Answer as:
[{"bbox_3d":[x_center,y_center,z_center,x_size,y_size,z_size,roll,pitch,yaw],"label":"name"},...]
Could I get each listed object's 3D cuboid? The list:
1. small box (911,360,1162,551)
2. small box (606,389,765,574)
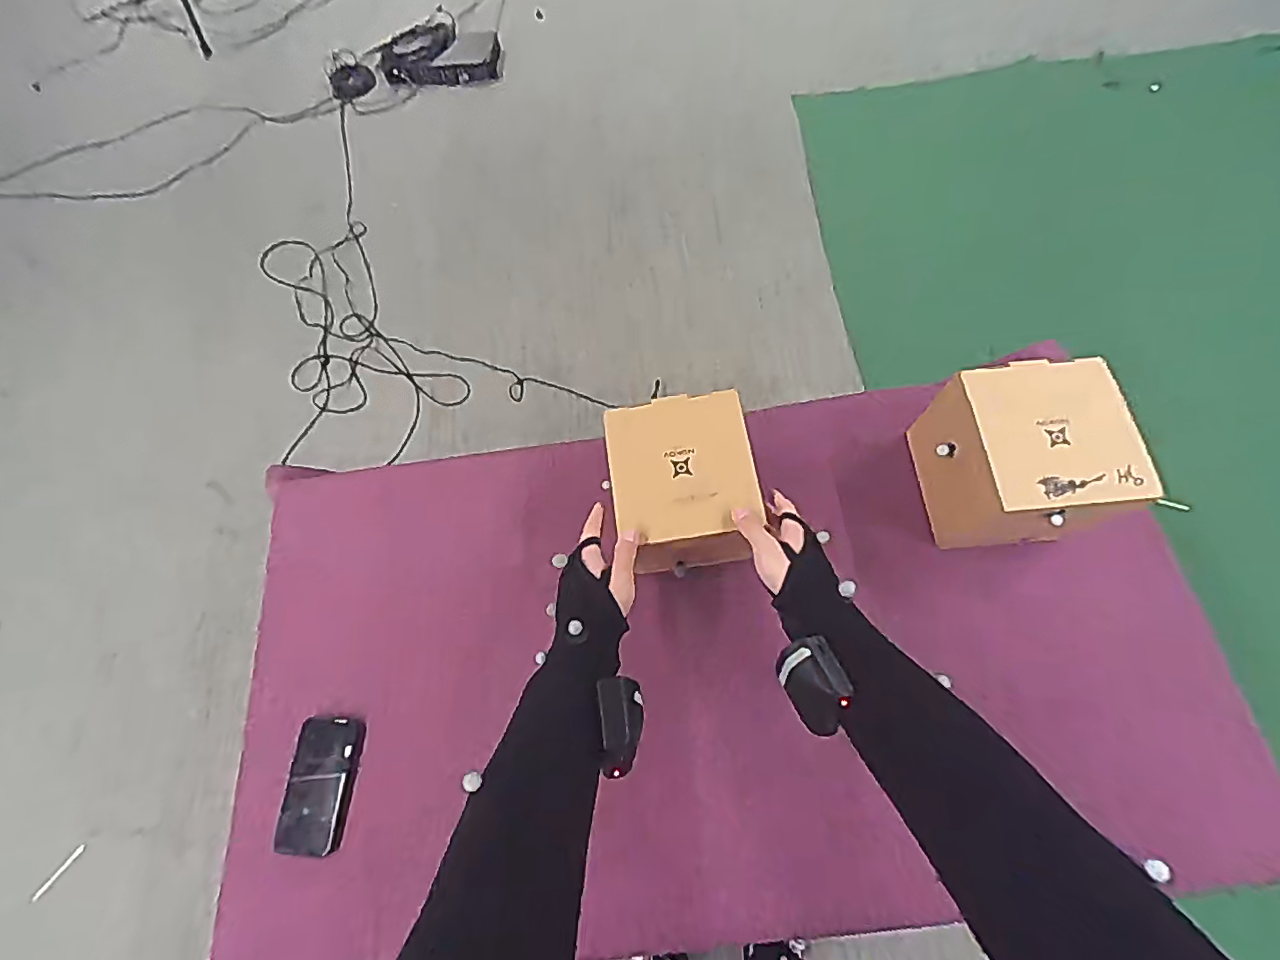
[{"bbox_3d":[0.462,-0.023,0.669,0.168,0.176,0.179,-5,67,3],"label":"small box"},{"bbox_3d":[0.053,0.010,0.692,0.168,0.176,0.179,-8,68,2],"label":"small box"}]
